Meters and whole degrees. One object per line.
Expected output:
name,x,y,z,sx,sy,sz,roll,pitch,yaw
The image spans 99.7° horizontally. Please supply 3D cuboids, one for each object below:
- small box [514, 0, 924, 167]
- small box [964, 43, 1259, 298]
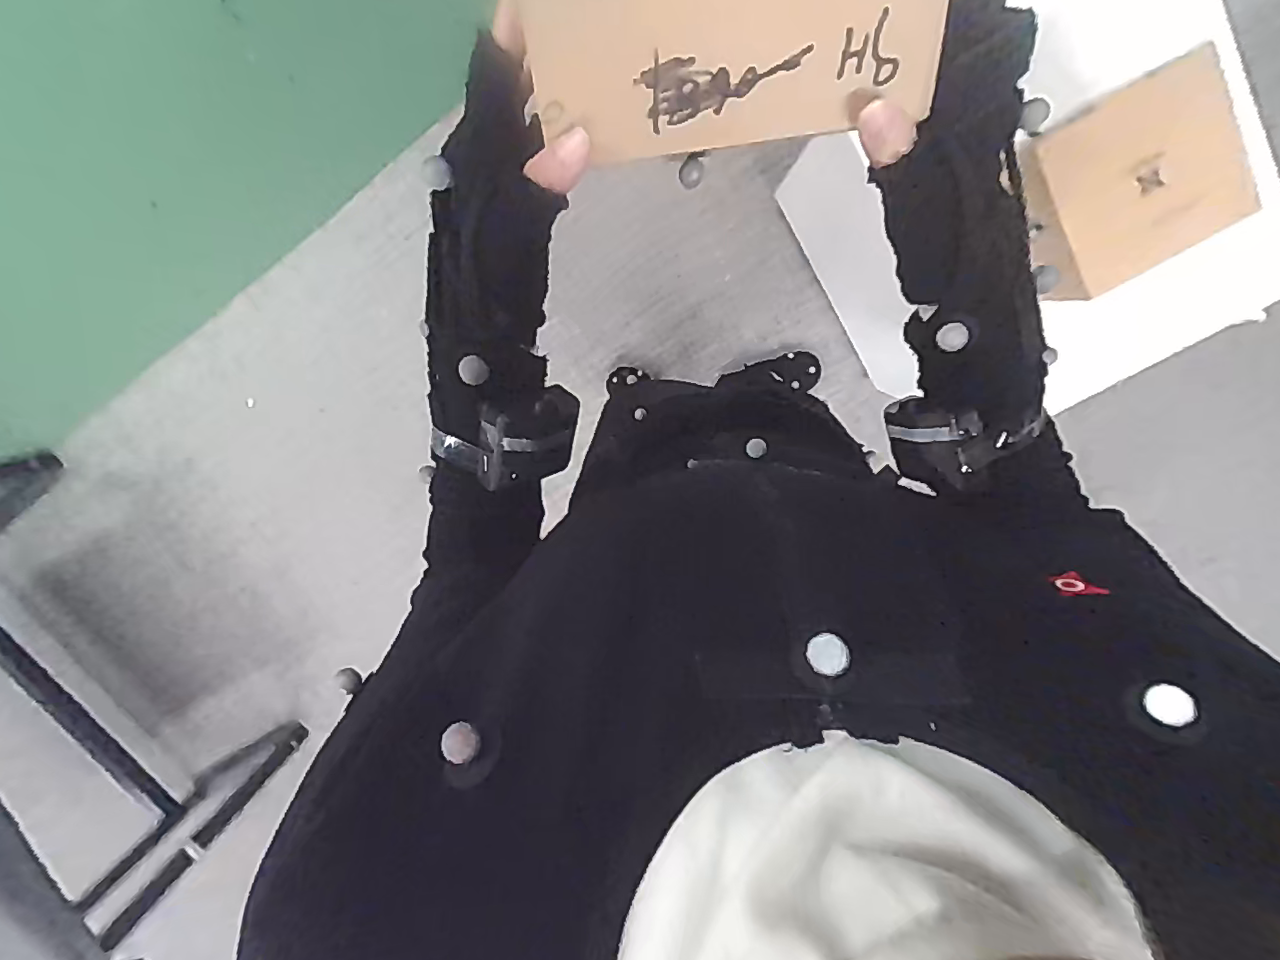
small box,0.024,-0.267,0.266,0.168,0.176,0.179,-9,121,6
small box,0.508,-0.322,0.612,0.168,0.176,0.179,-28,103,14
